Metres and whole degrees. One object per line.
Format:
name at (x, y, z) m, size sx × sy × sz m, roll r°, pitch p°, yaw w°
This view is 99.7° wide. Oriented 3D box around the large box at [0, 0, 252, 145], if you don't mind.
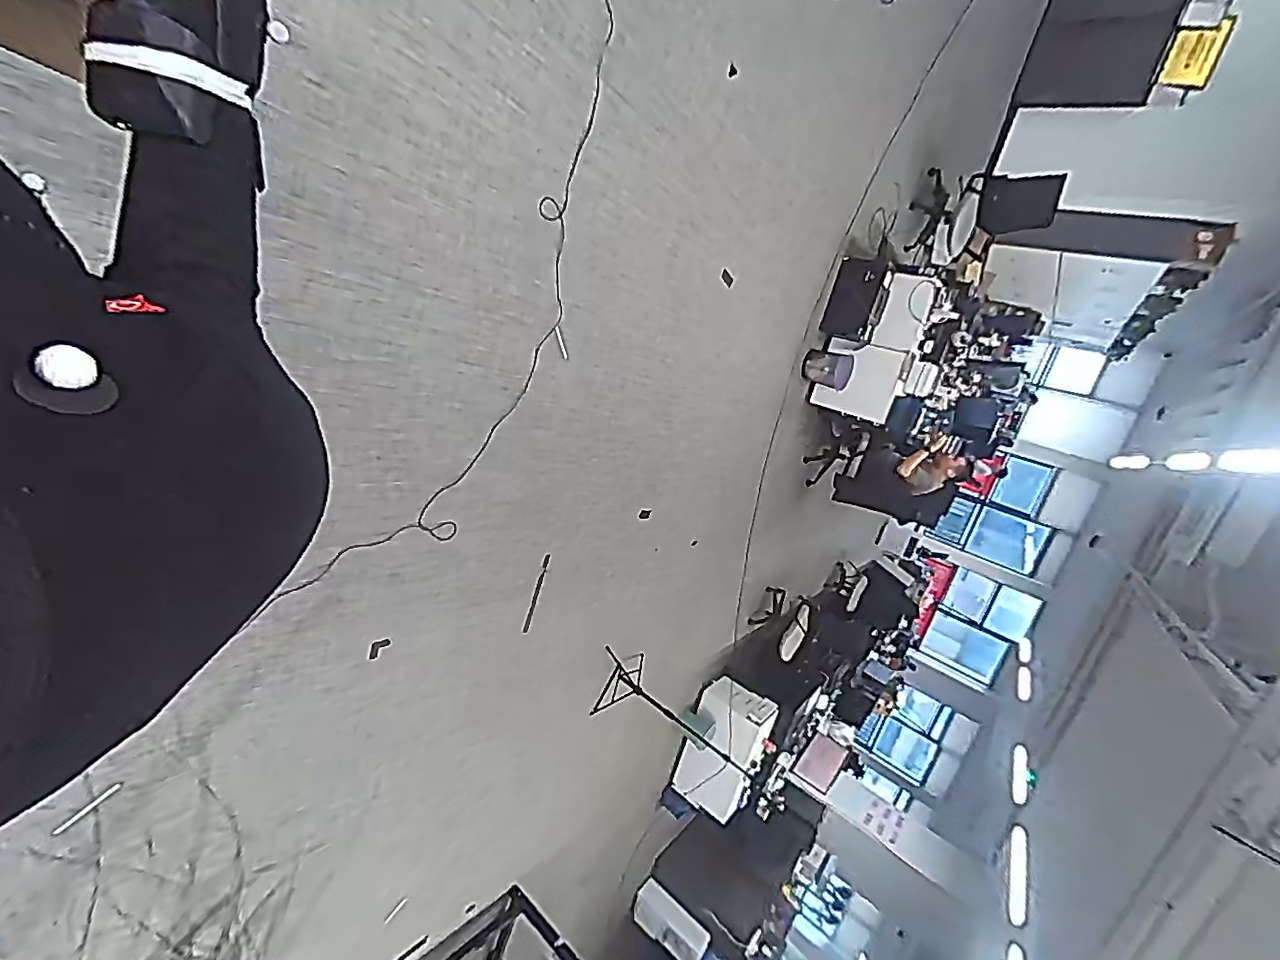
large box at (-0.528, -0.513, 0.357) m, size 0.408 × 0.320 × 0.320 m, roll 16°, pitch 99°, yaw -26°
